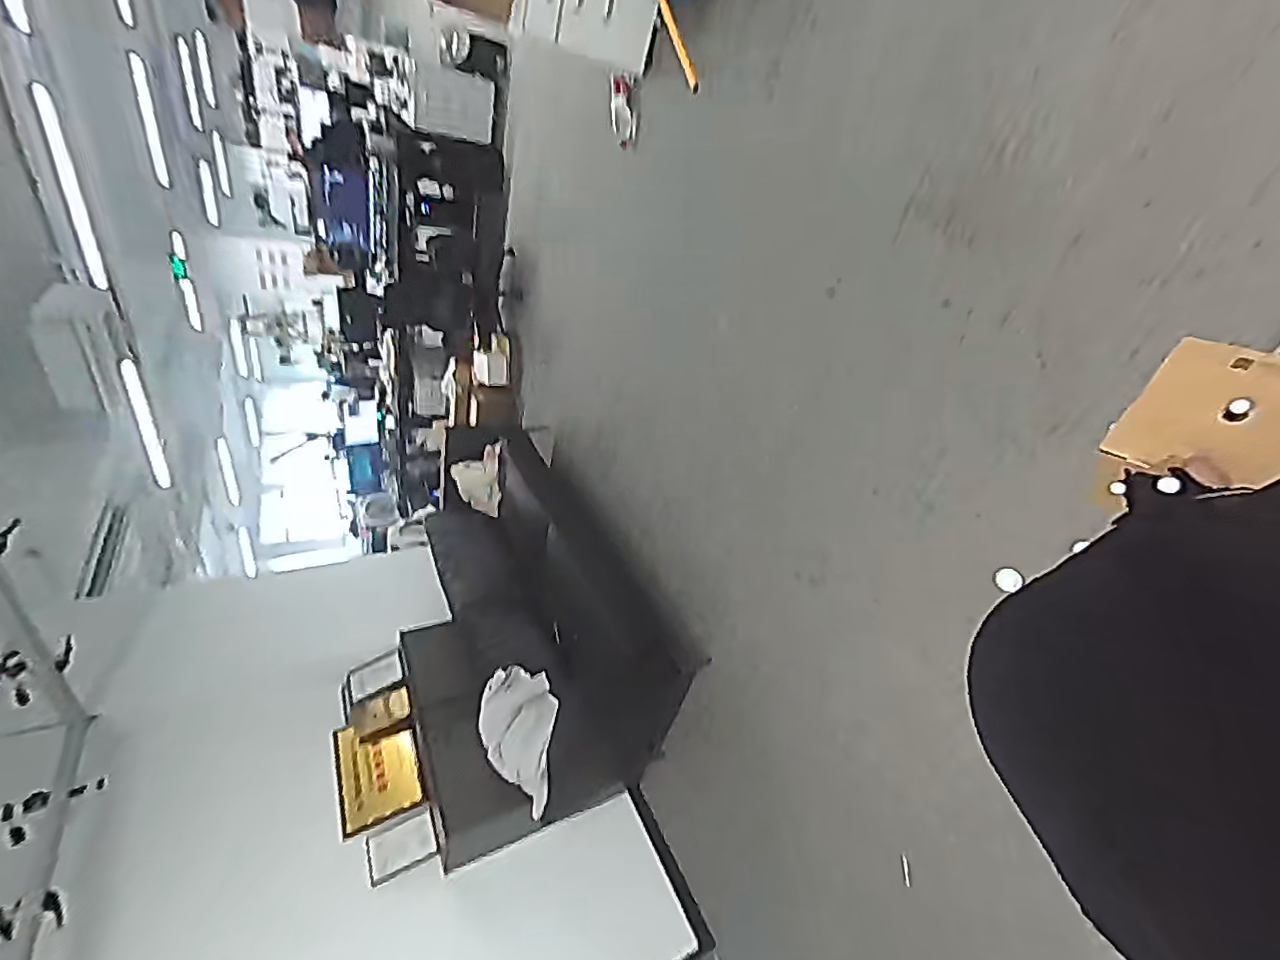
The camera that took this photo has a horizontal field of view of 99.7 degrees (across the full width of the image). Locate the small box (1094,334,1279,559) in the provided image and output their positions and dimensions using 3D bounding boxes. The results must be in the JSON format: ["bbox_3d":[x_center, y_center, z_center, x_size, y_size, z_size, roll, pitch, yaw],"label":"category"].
[{"bbox_3d":[0.684,-0.042,0.633,0.176,0.179,0.168,-52,47,0],"label":"small box"}]
